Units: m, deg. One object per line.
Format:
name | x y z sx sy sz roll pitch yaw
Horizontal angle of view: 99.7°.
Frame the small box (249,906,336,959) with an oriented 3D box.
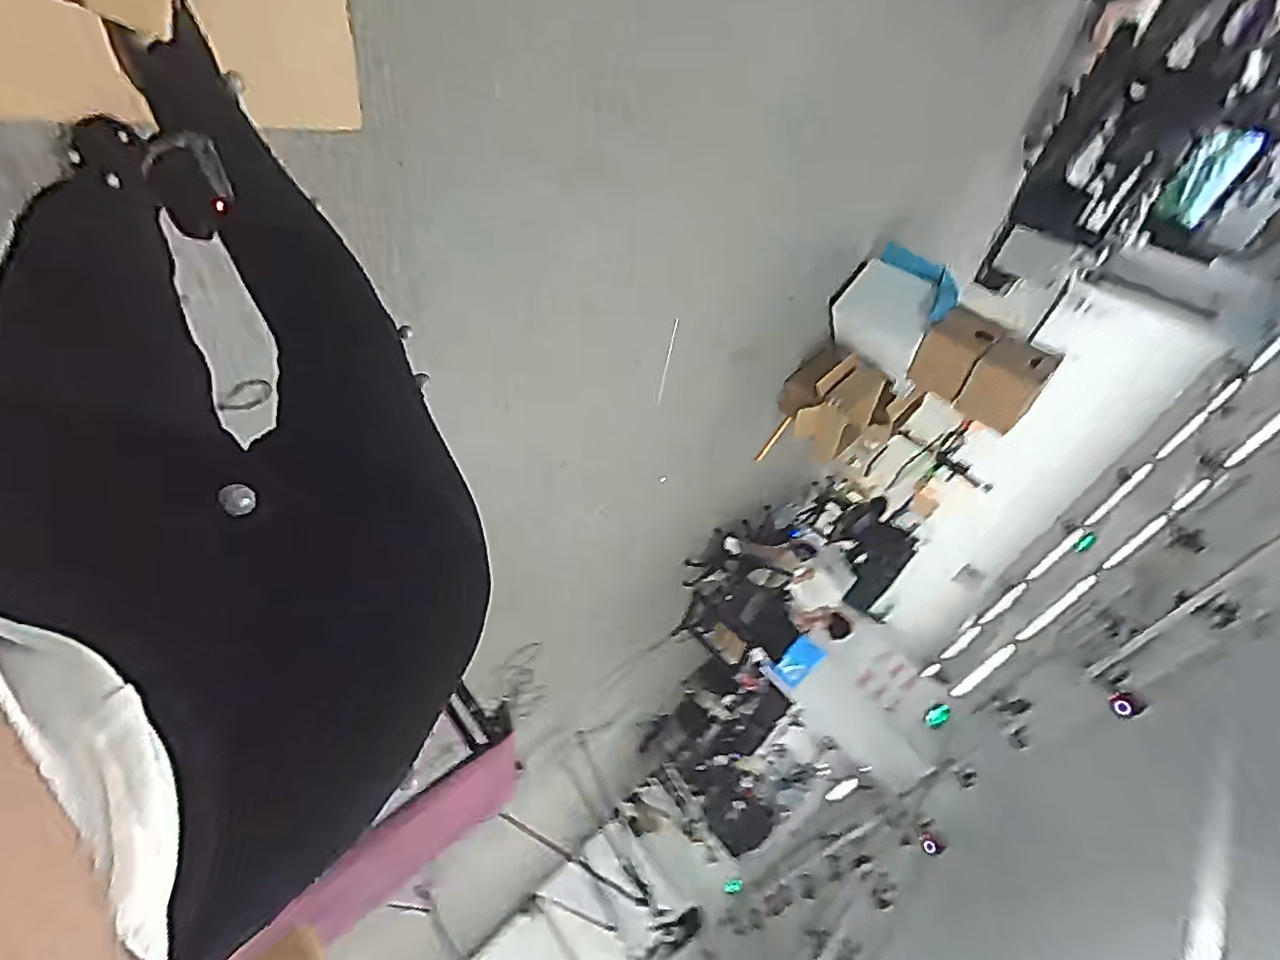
small box | -1.078 1.483 1.677 0.179 0.176 0.168 -28 147 -34
